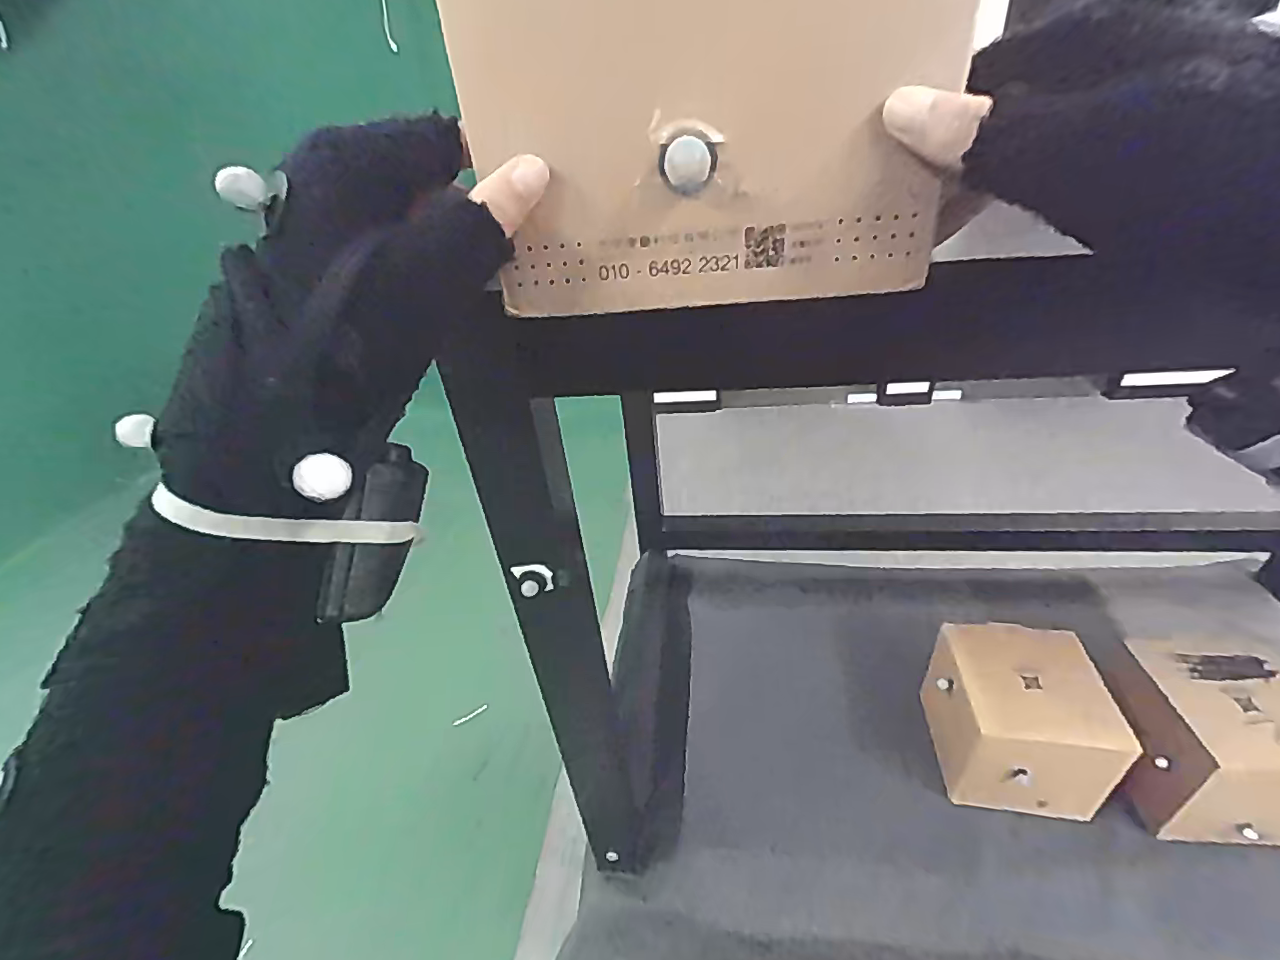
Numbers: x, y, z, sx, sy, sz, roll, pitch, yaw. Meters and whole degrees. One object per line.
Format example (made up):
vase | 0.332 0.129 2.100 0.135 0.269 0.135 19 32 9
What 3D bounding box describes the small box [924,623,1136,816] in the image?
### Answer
small box | 0.505 0.322 0.735 0.168 0.176 0.179 1 34 12
